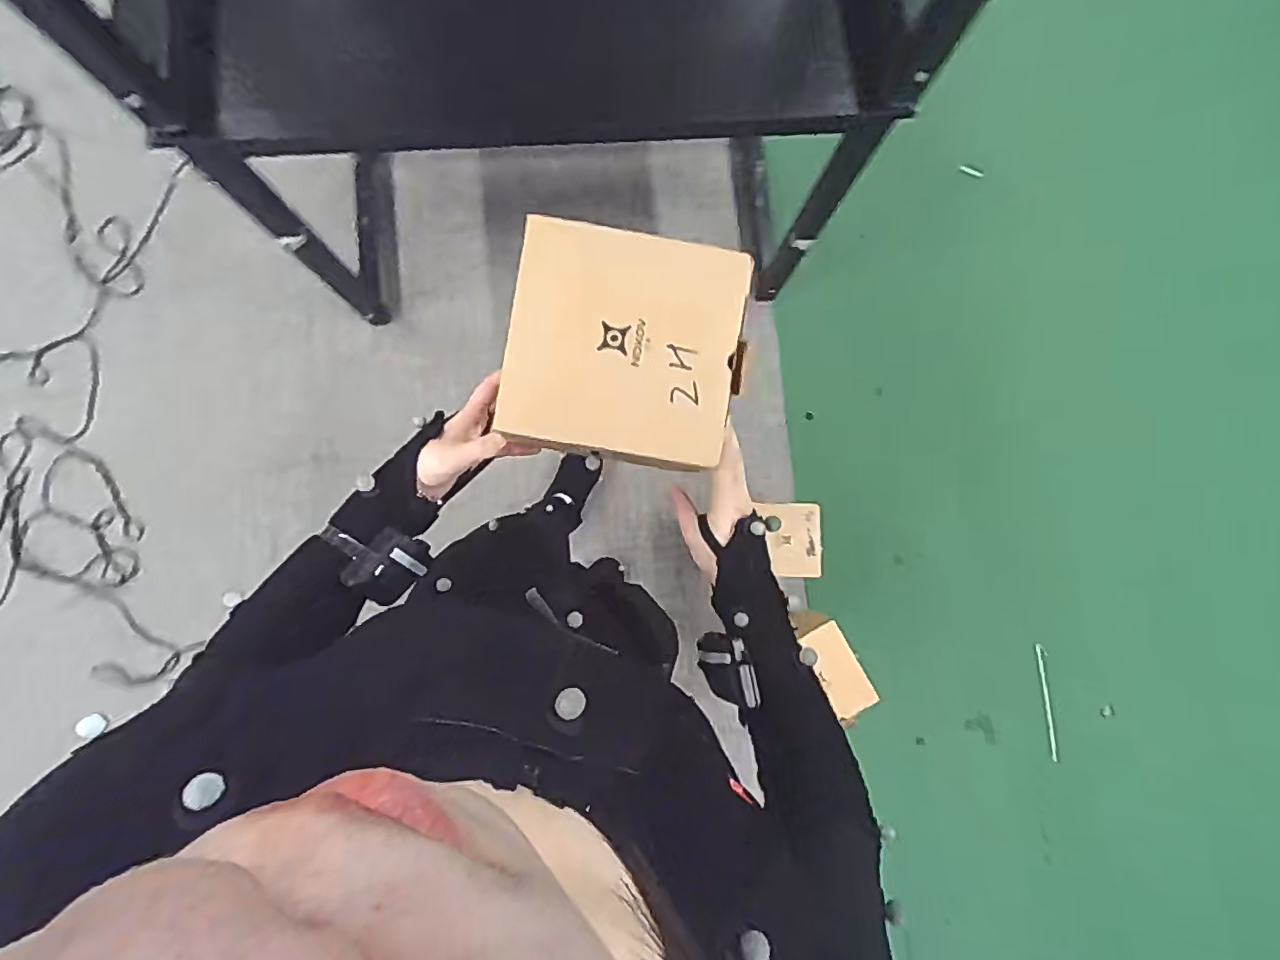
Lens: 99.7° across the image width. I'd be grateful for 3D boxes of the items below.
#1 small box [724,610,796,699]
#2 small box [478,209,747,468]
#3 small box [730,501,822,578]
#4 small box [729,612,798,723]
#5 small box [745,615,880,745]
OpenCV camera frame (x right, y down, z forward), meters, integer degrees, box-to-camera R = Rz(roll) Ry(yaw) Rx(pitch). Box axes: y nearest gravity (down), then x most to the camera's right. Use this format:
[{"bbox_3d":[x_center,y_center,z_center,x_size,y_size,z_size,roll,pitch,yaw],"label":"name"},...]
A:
[{"bbox_3d":[0.326,0.443,1.407,0.168,0.176,0.179,-11,85,-4],"label":"small box"},{"bbox_3d":[-0.023,-0.103,0.473,0.179,0.176,0.168,9,90,-3],"label":"small box"},{"bbox_3d":[0.312,0.142,1.273,0.179,0.176,0.168,2,83,-3],"label":"small box"},{"bbox_3d":[0.323,0.418,1.246,0.168,0.176,0.179,-24,86,-3],"label":"small box"},{"bbox_3d":[0.334,0.386,1.086,0.168,0.176,0.179,-29,87,-5],"label":"small box"}]
